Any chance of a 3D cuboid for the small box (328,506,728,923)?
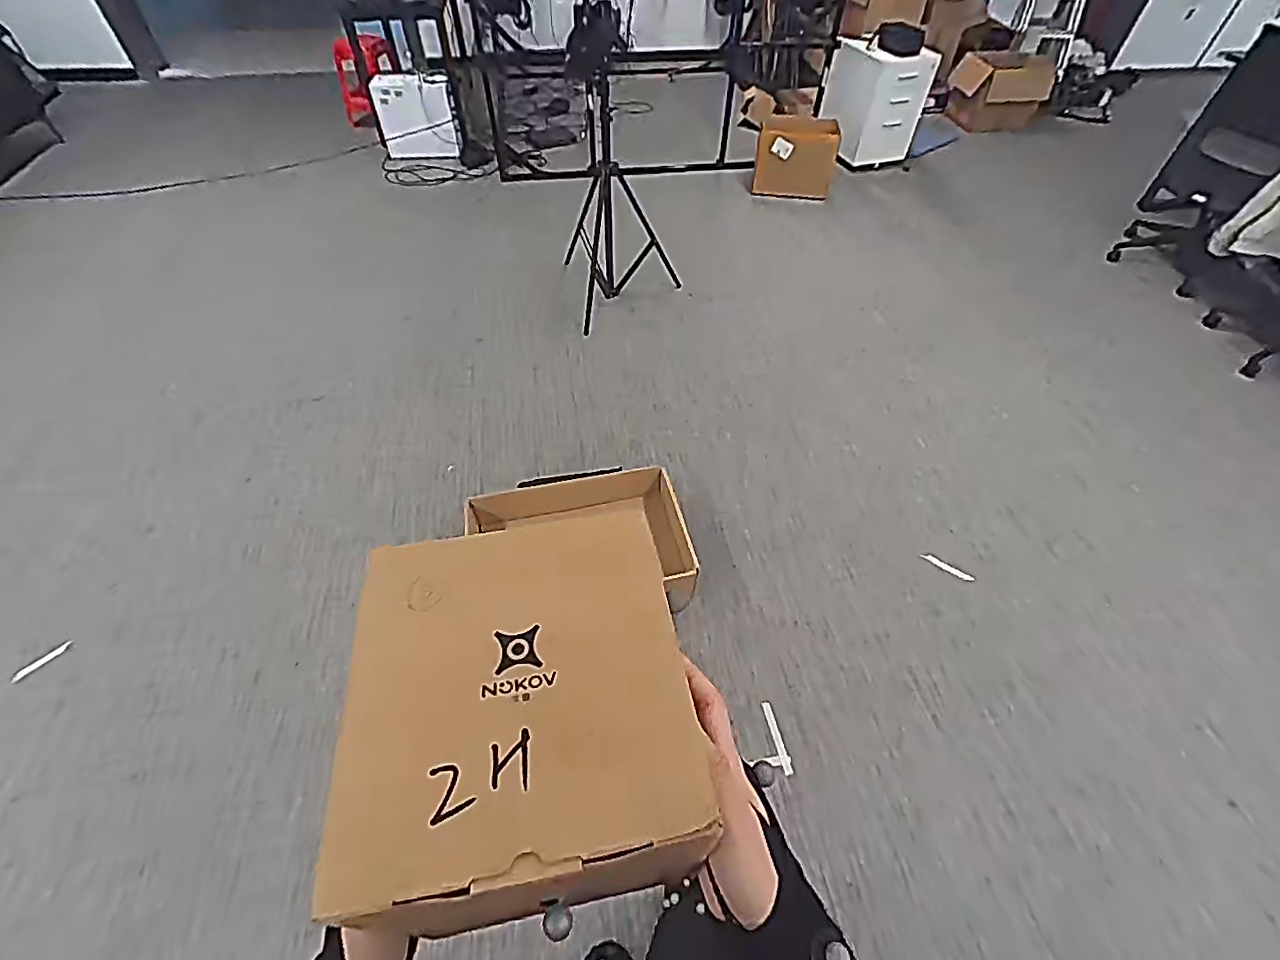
[{"bbox_3d":[-0.058,0.143,0.334,0.168,0.176,0.179,-8,49,-8],"label":"small box"}]
